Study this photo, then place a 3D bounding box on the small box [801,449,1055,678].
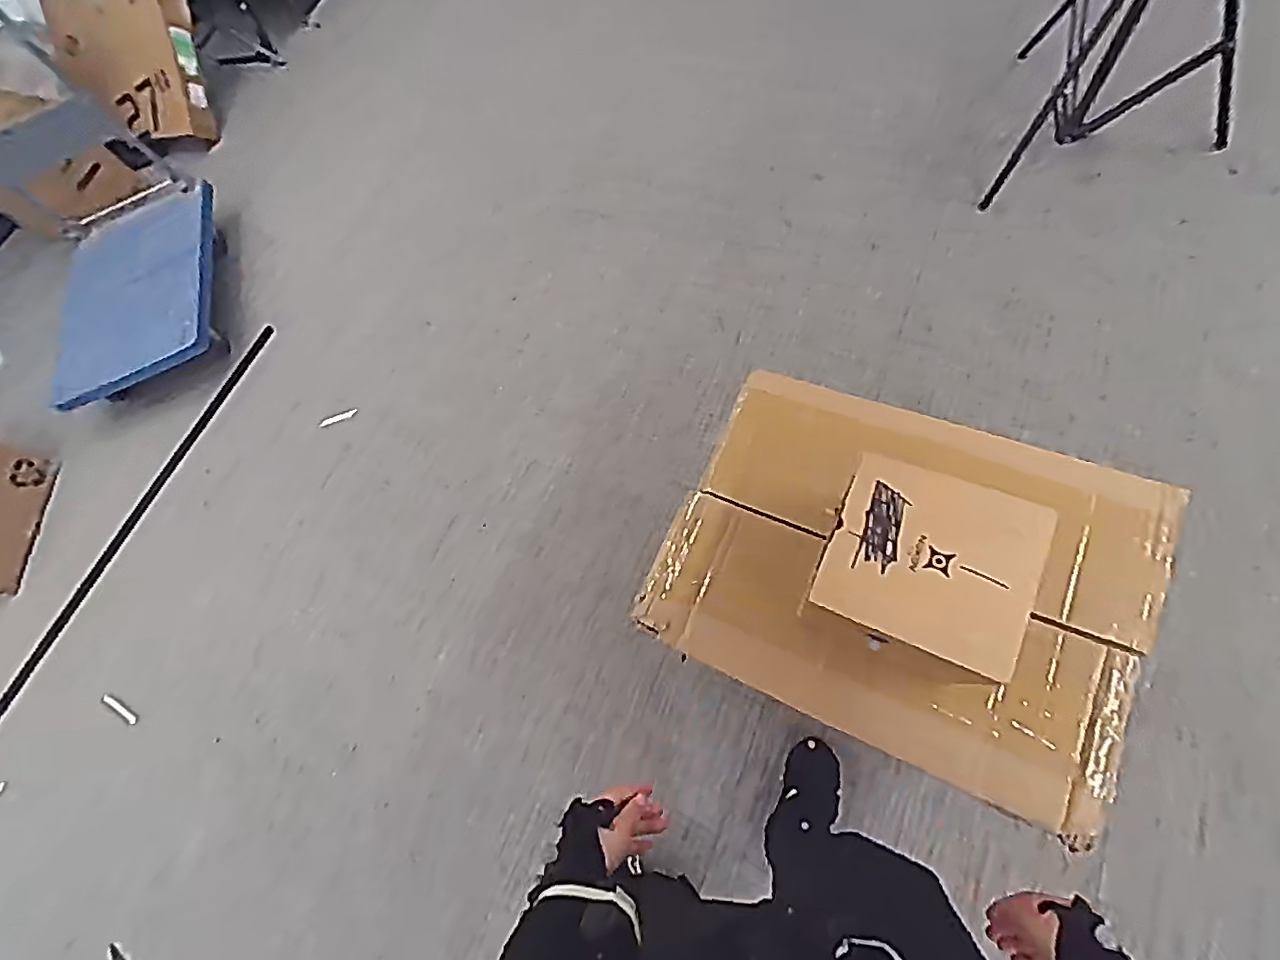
[{"bbox_3d":[0.280,0.095,0.568,0.179,0.176,0.168,22,77,20],"label":"small box"}]
